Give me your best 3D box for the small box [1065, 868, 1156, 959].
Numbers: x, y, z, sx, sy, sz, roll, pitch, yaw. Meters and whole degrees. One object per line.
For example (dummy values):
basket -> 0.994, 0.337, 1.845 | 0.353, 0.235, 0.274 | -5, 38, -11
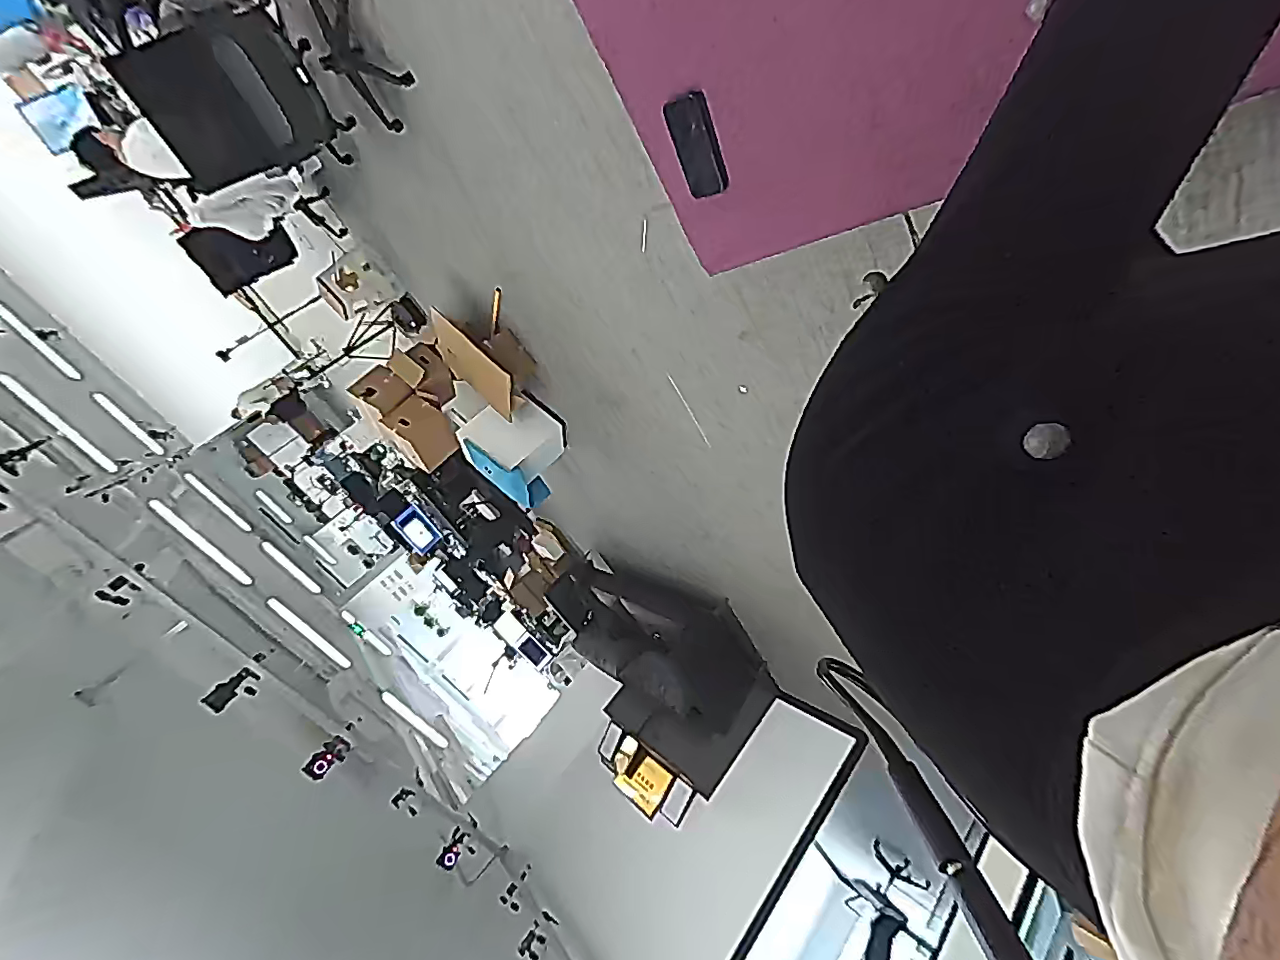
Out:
small box -> 1.351, 1.272, 1.551 | 0.168, 0.176, 0.179 | 11, 139, 51

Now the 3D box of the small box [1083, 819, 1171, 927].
small box -> 1.458, 1.169, 1.617 | 0.168, 0.176, 0.179 | 11, 139, 51
